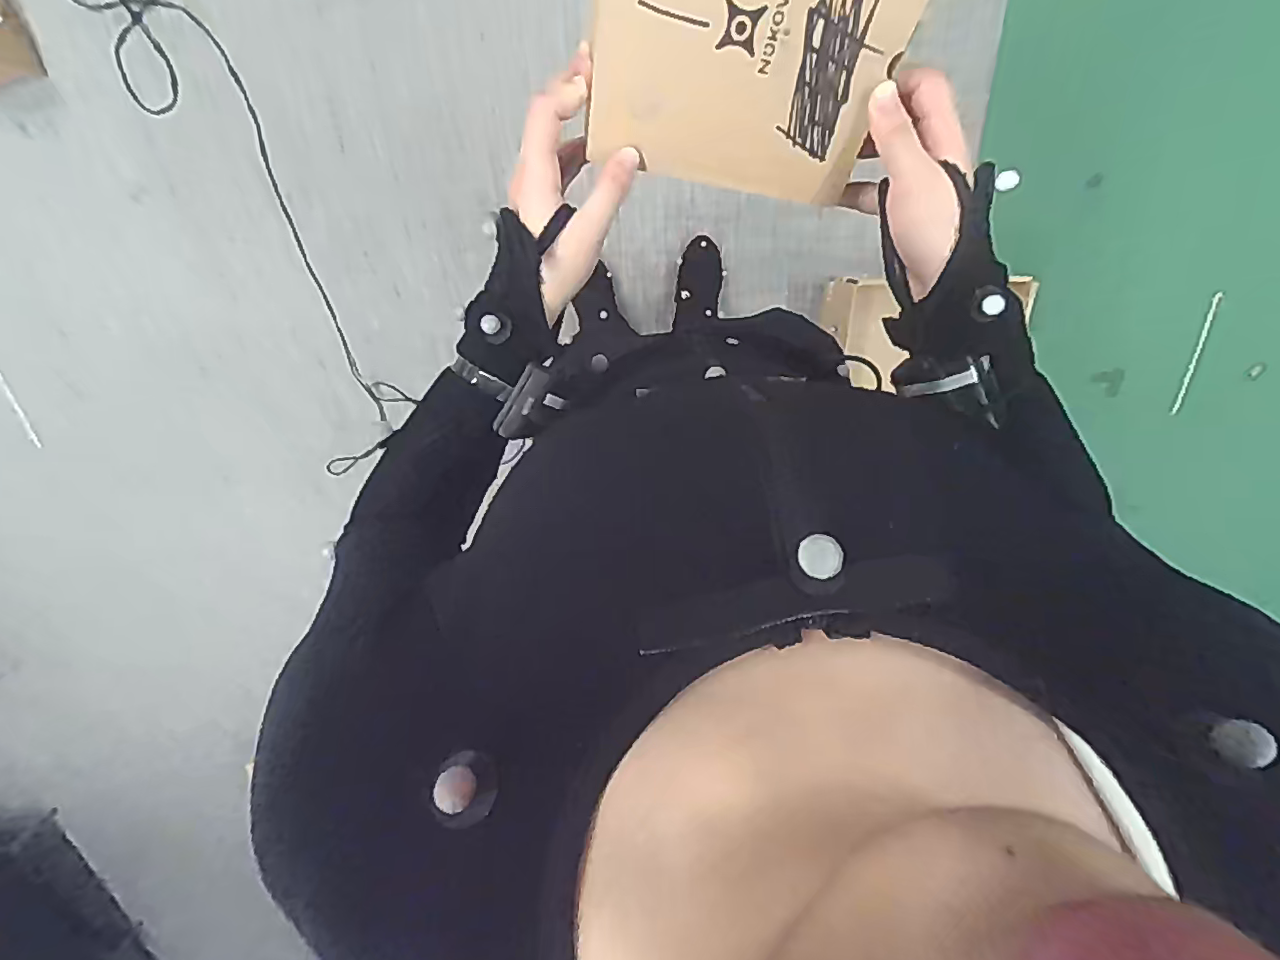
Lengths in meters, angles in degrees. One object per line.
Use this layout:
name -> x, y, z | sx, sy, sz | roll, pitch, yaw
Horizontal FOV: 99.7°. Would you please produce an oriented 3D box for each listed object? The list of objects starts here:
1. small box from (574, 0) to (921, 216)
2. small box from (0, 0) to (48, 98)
small box -> 0.053, -0.303, 0.346 | 0.179, 0.176, 0.168 | 4, 144, -10
small box -> -1.382, -0.888, 1.081 | 0.179, 0.176, 0.168 | -11, 113, 5
